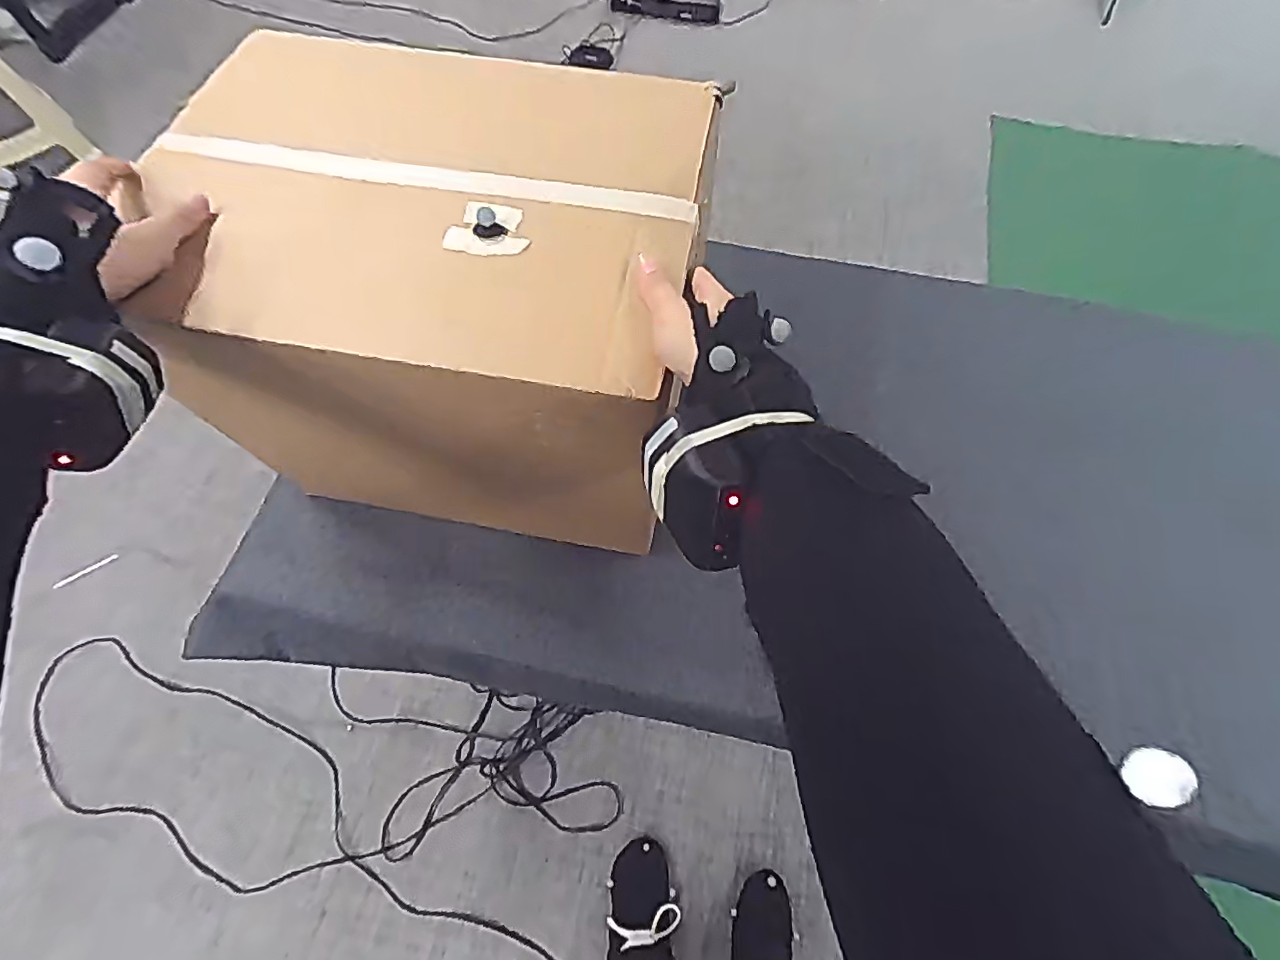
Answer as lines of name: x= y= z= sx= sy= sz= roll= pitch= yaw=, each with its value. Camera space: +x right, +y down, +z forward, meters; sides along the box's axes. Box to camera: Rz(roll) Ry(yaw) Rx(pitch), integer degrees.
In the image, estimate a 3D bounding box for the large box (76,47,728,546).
large box: x=-0.151 y=-0.151 z=0.536 sx=0.408 sy=0.320 sz=0.320 roll=10 pitch=66 yaw=3
